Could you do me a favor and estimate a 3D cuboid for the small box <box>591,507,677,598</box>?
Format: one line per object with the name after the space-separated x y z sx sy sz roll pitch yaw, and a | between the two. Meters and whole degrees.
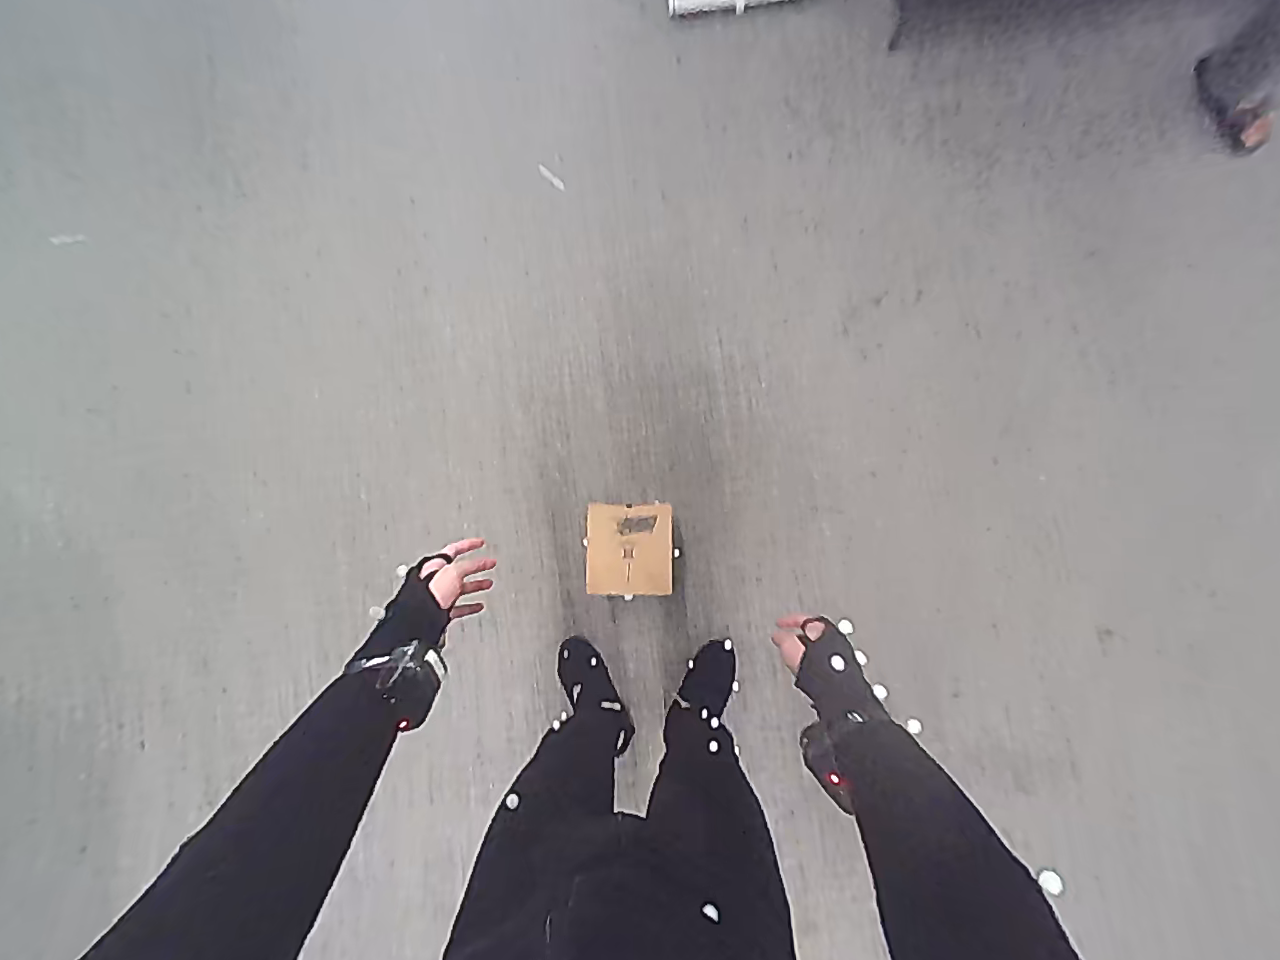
-0.008 0.151 1.124 0.168 0.176 0.179 0 82 3 | small box
